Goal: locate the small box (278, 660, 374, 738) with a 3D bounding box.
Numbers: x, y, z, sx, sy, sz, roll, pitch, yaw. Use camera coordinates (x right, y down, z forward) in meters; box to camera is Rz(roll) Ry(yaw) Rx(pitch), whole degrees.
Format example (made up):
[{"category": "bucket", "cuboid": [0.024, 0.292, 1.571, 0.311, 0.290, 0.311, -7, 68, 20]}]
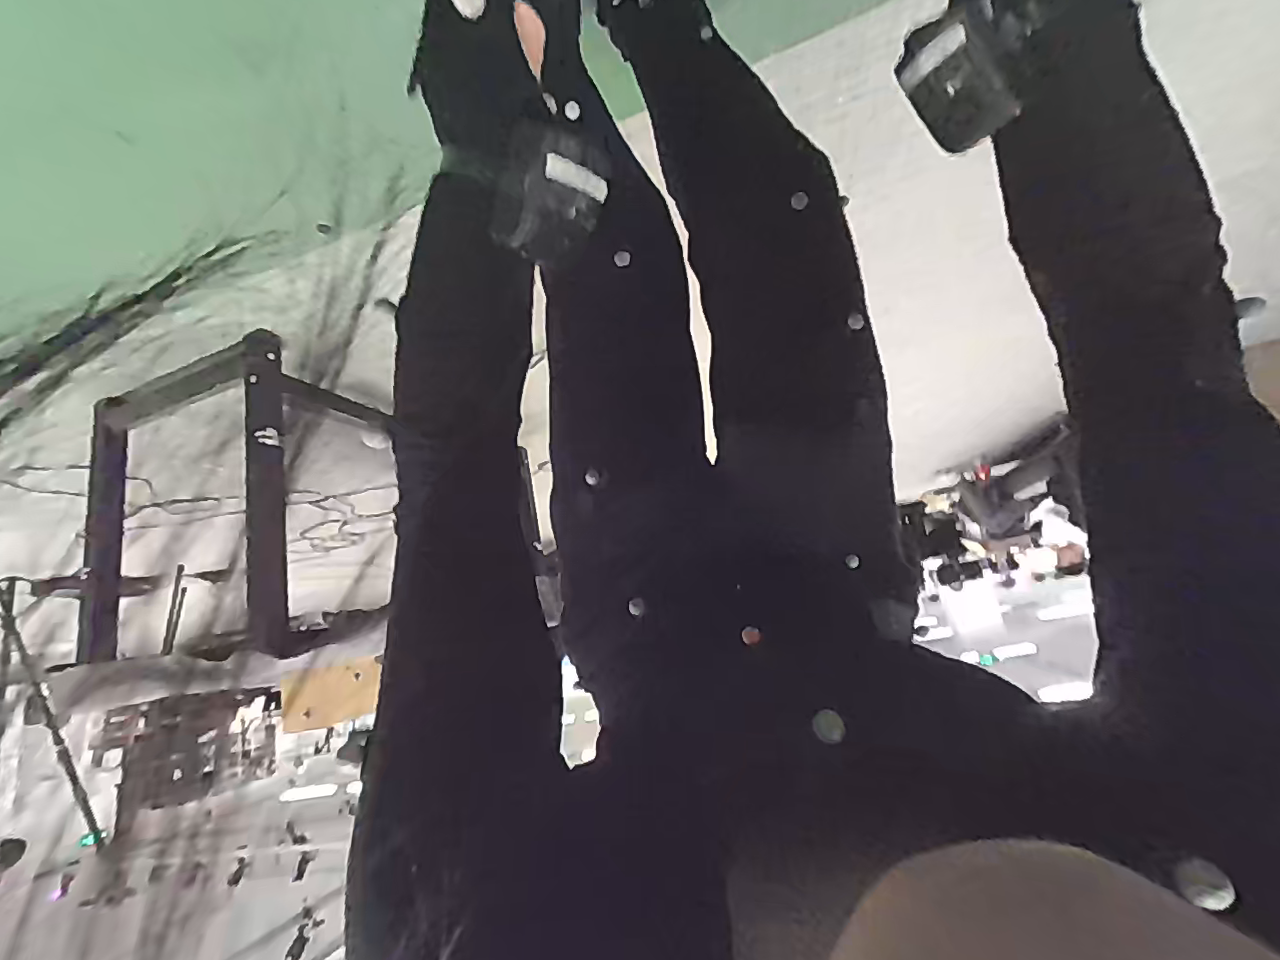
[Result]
[{"category": "small box", "cuboid": [-0.886, 0.613, 1.531, 0.179, 0.176, 0.168, -16, 164, 15]}]
